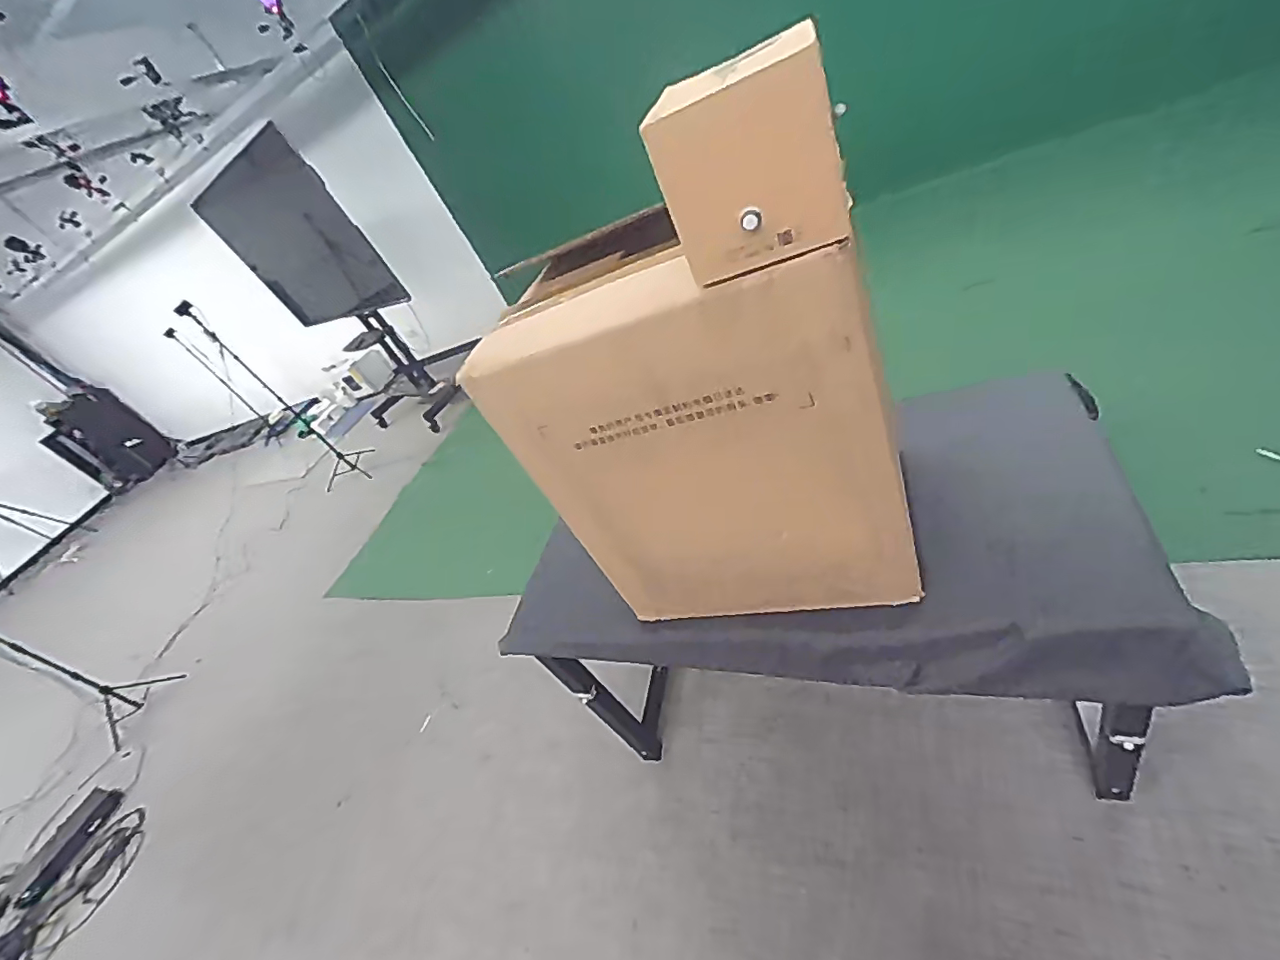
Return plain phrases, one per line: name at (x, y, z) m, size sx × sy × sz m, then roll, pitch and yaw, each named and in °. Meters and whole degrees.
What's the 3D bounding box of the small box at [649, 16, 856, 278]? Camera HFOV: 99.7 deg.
small box at (0.129, -0.347, 0.579) m, size 0.168 × 0.176 × 0.179 m, roll -9°, pitch 42°, yaw 25°
